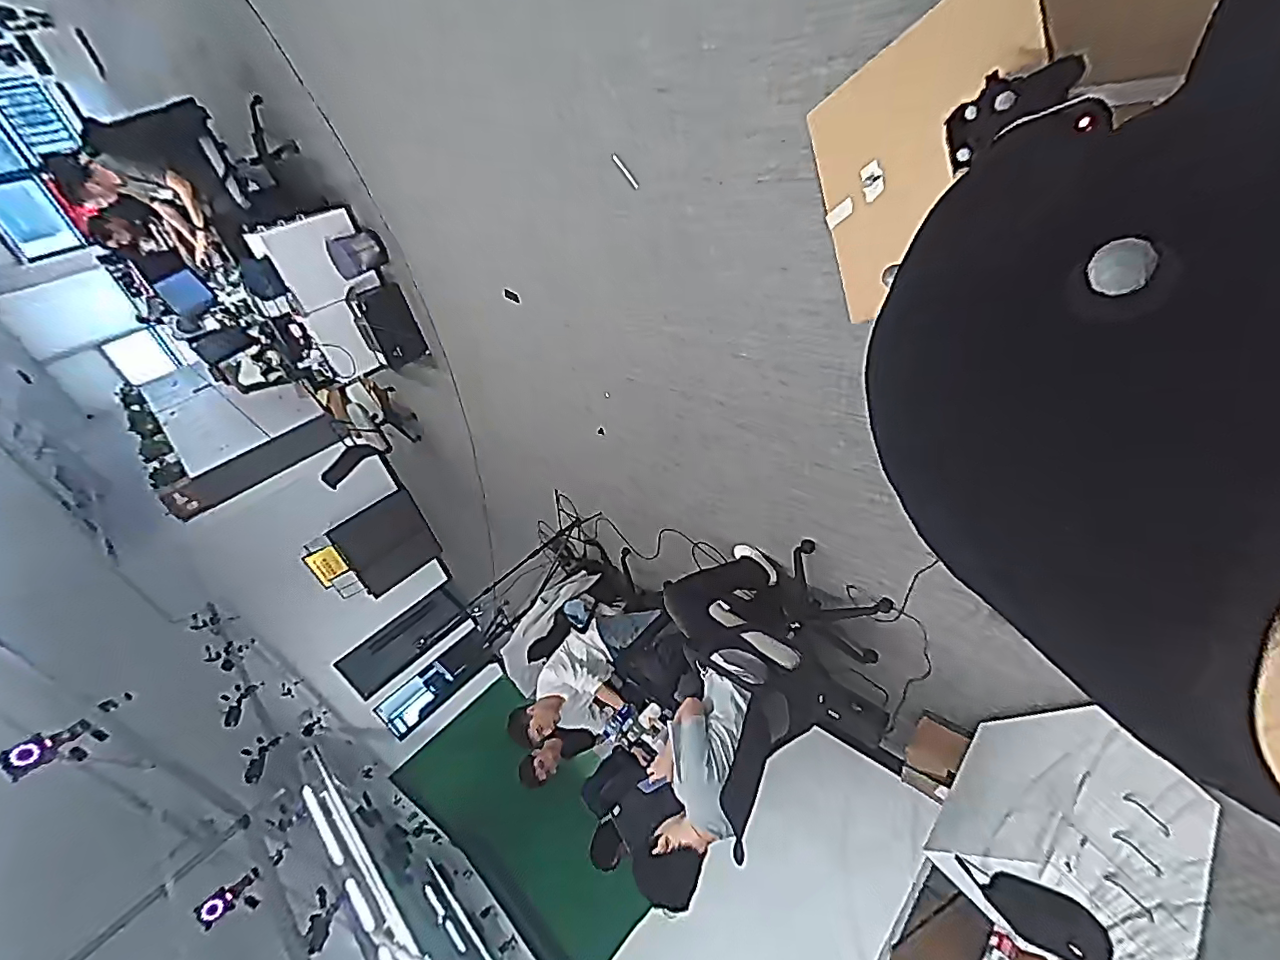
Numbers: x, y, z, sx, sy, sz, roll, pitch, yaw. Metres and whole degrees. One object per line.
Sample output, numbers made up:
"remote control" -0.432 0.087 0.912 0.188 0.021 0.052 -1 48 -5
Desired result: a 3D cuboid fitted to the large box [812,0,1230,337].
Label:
"large box" 0.524 -0.427 0.768 0.320 0.408 0.320 4 112 64
